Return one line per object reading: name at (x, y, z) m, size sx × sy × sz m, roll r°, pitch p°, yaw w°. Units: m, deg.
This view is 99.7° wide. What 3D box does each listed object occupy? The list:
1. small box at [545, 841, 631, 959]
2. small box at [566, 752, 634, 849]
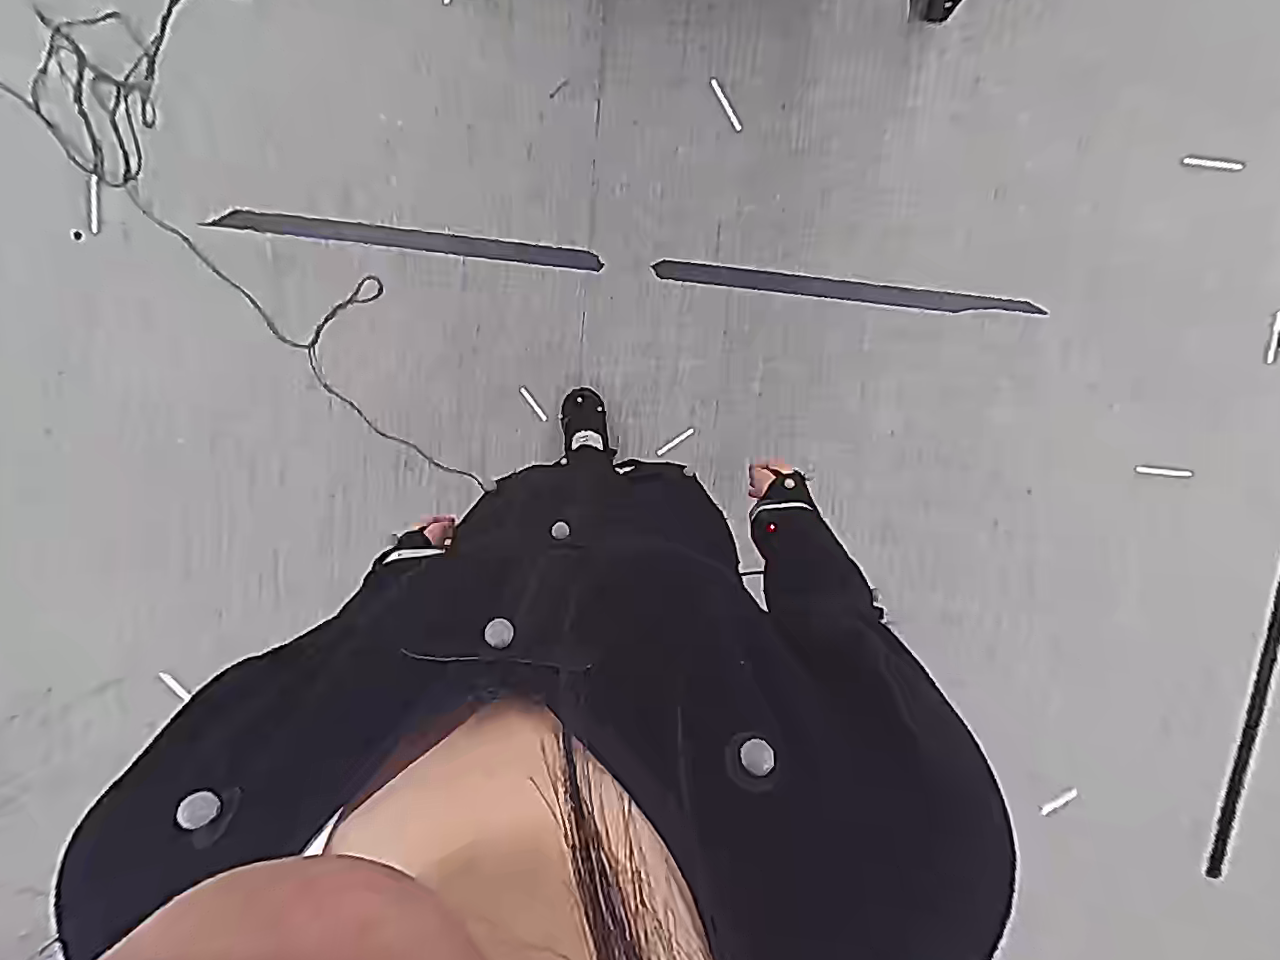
small box at (-0.109, 0.937, 1.180) m, size 0.168 × 0.176 × 0.179 m, roll 5°, pitch 96°, yaw -1°
small box at (-0.108, 0.893, 1.507) m, size 0.168 × 0.176 × 0.179 m, roll 7°, pitch 97°, yaw 0°
